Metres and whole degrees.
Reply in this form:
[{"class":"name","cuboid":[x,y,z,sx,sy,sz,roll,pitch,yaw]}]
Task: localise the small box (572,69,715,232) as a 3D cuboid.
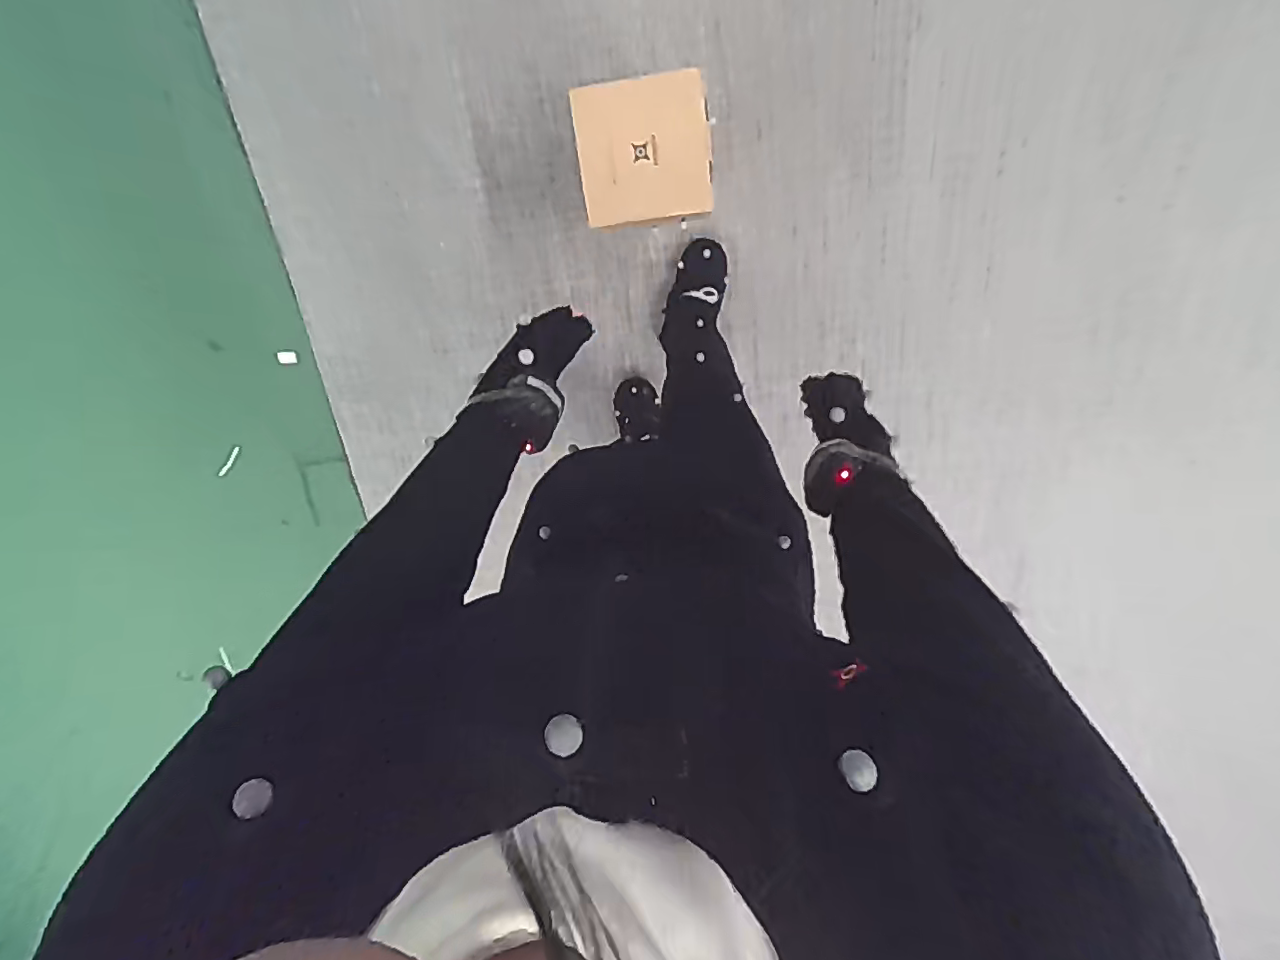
[{"class":"small box","cuboid":[0.013,-0.465,0.790,0.179,0.176,0.168,-5,111,8]}]
